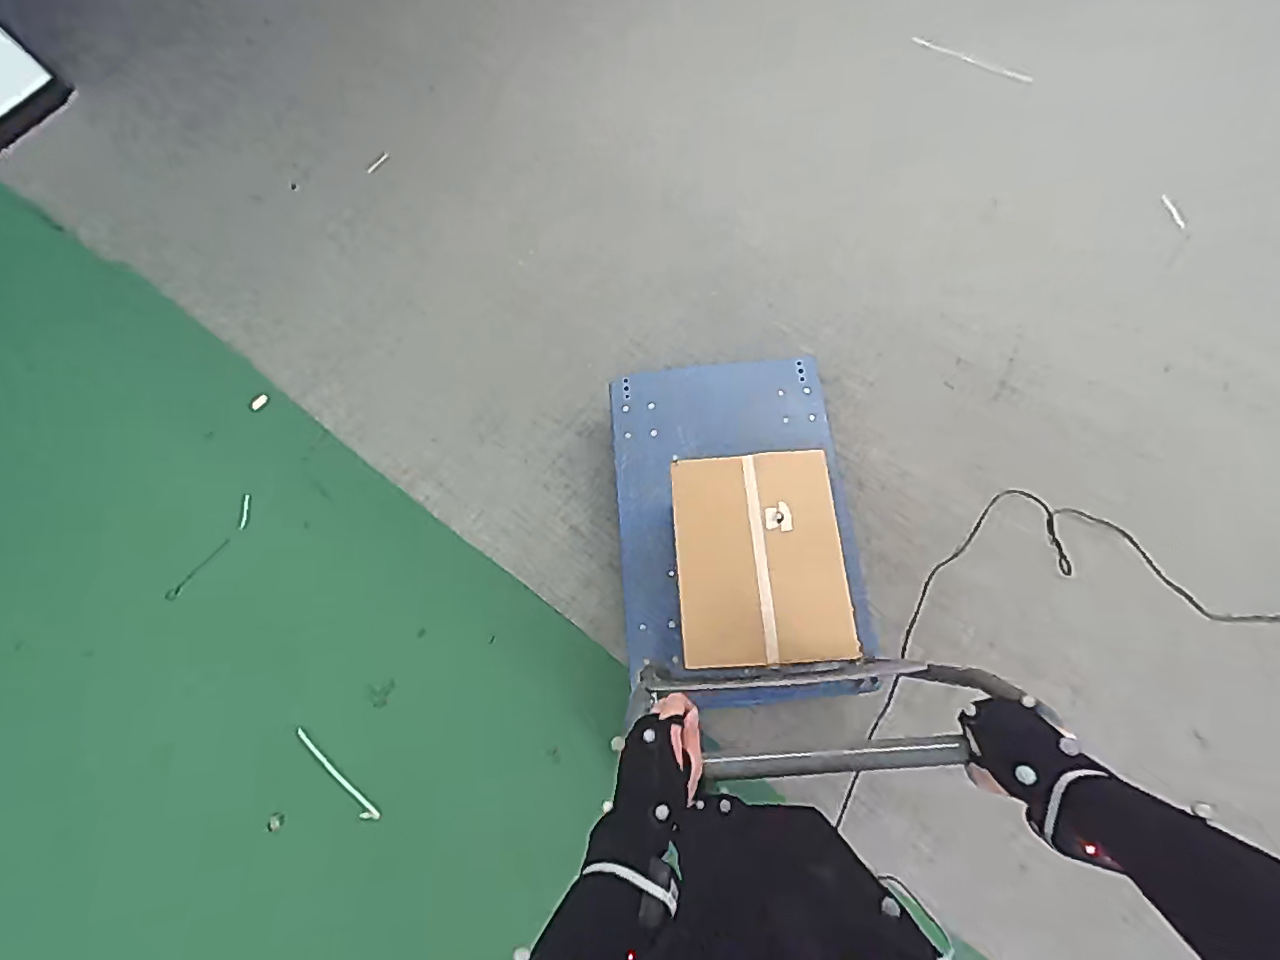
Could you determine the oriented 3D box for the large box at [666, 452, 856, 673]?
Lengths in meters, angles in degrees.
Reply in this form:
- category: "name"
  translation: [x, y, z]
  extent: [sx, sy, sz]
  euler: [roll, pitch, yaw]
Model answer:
- category: "large box"
  translation: [0.232, 0.193, 1.170]
  extent: [0.320, 0.320, 0.408]
  euler: [-5, 70, 3]
